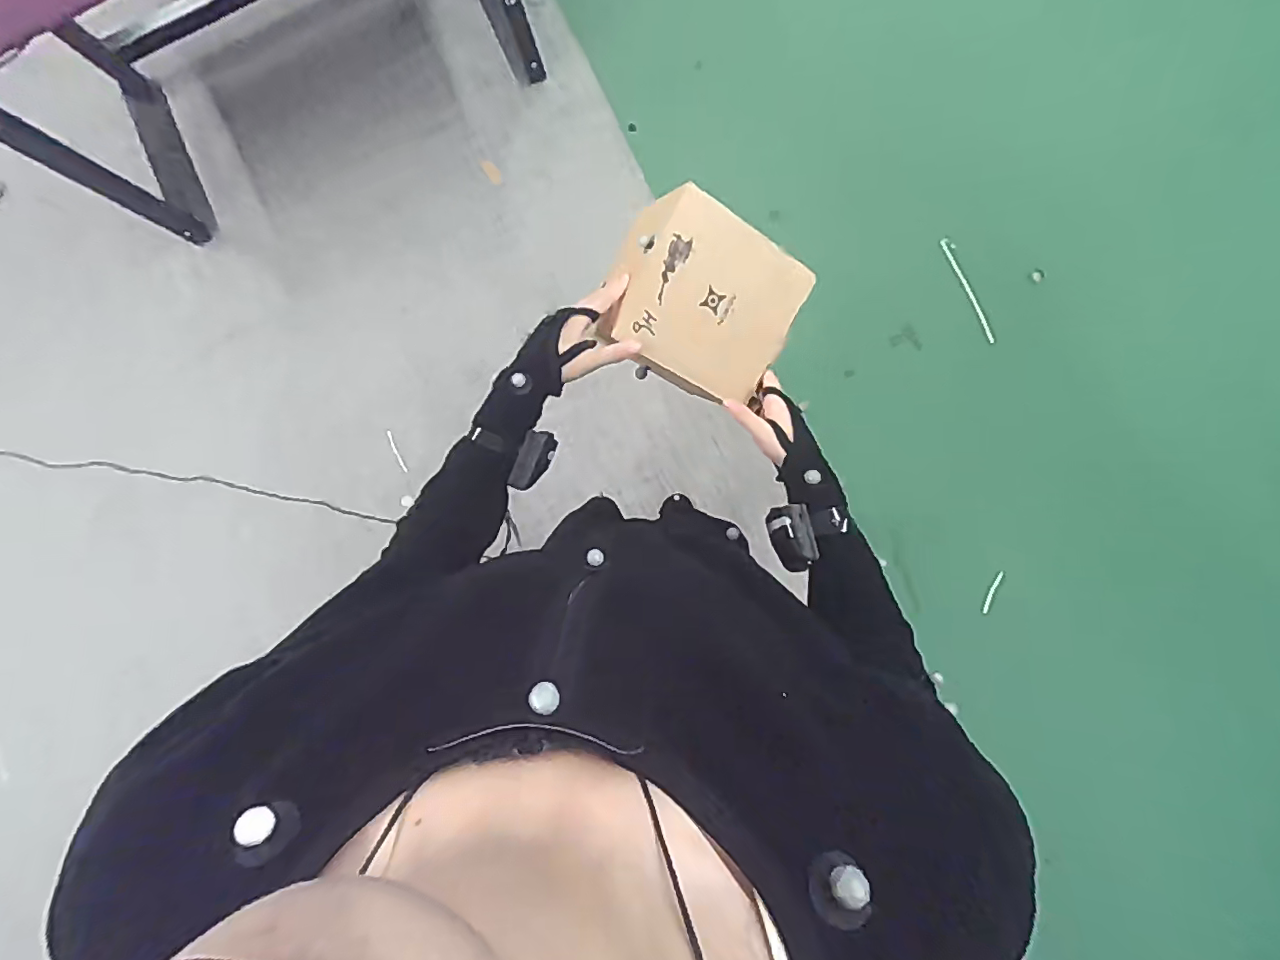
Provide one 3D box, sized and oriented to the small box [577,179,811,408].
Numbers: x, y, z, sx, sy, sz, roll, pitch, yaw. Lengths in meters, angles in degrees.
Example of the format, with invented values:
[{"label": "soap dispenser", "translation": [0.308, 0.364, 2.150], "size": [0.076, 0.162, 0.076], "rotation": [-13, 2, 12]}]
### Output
[{"label": "small box", "translation": [0.051, -0.204, 0.621], "size": [0.179, 0.176, 0.168], "rotation": [24, 97, -23]}]
